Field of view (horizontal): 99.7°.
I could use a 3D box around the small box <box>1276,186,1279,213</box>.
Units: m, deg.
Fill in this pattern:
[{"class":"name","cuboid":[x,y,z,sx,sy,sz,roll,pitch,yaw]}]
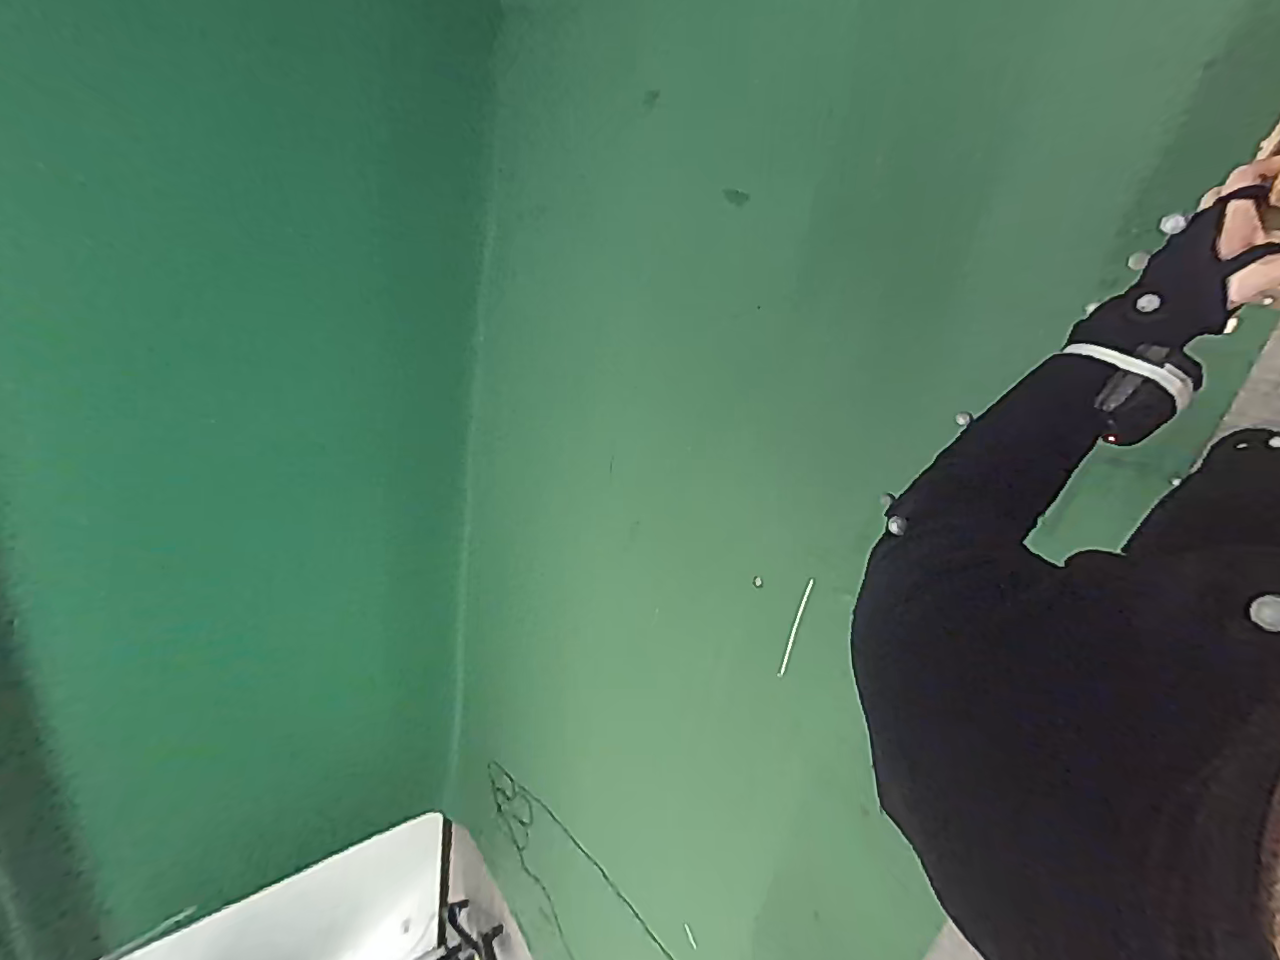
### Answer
[{"class":"small box","cuboid":[0.527,-0.240,0.307,0.168,0.176,0.179,33,124,36]}]
